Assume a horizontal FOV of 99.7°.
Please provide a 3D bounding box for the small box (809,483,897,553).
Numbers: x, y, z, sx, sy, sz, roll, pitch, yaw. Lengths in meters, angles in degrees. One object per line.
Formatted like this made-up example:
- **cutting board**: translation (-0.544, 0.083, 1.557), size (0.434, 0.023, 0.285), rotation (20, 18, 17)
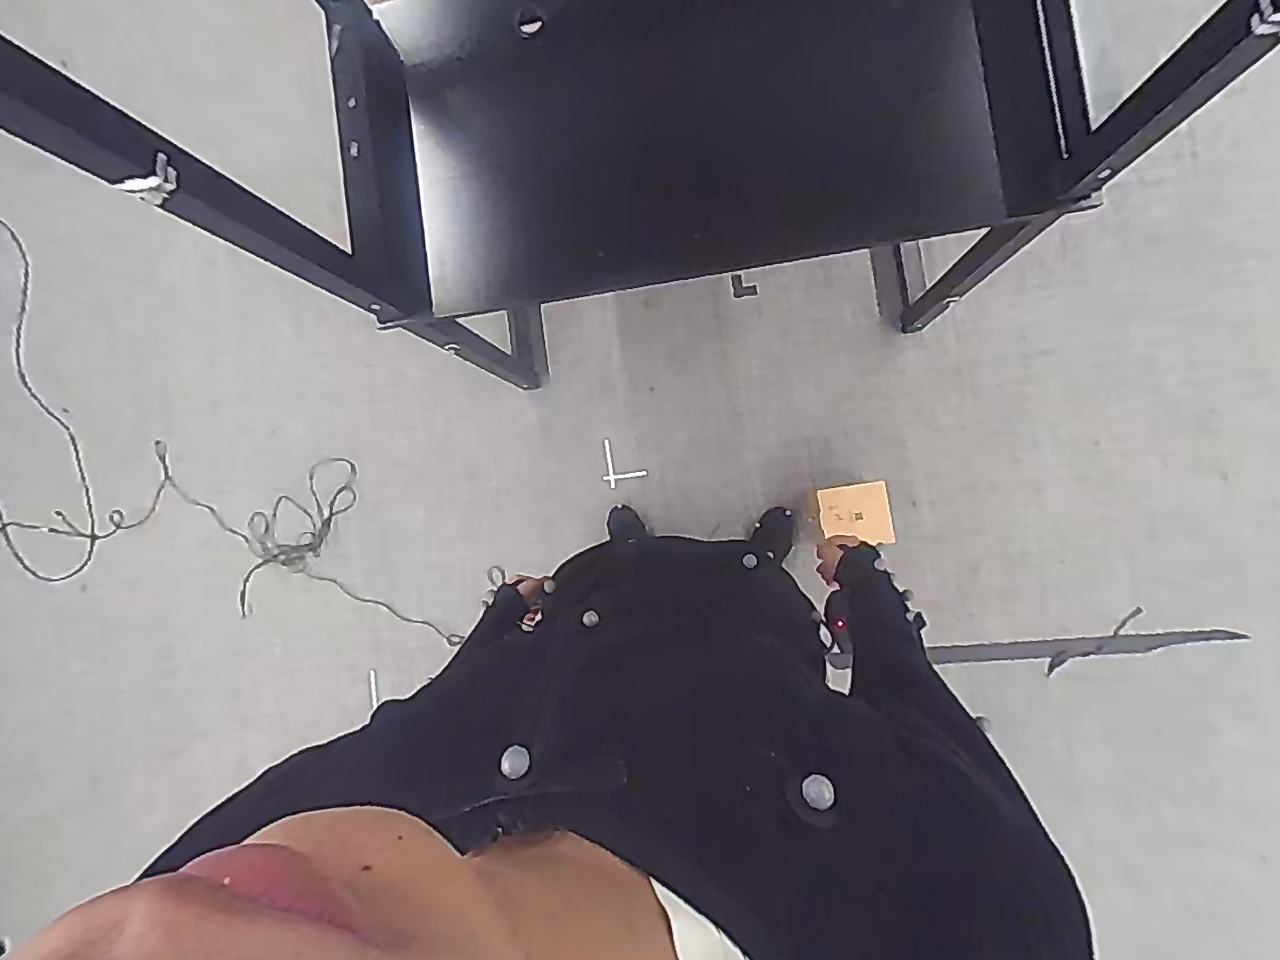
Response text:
- **small box**: translation (0.575, 0.098, 1.476), size (0.179, 0.176, 0.168), rotation (-9, 87, 9)
